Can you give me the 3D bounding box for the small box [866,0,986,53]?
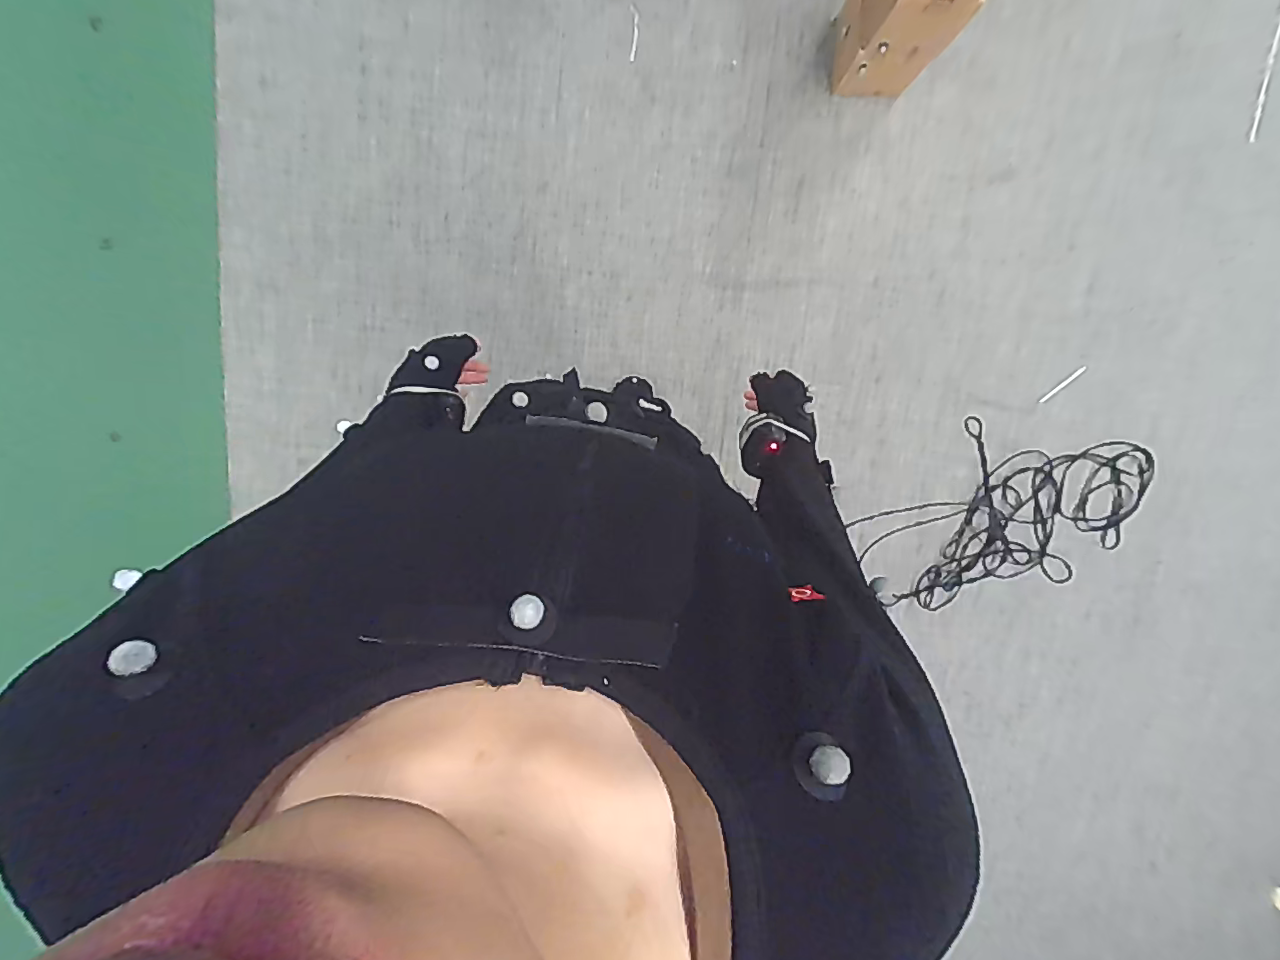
[{"bbox_3d":[0.555,-0.968,1.044,0.168,0.176,0.179,3,99,-1],"label":"small box"}]
